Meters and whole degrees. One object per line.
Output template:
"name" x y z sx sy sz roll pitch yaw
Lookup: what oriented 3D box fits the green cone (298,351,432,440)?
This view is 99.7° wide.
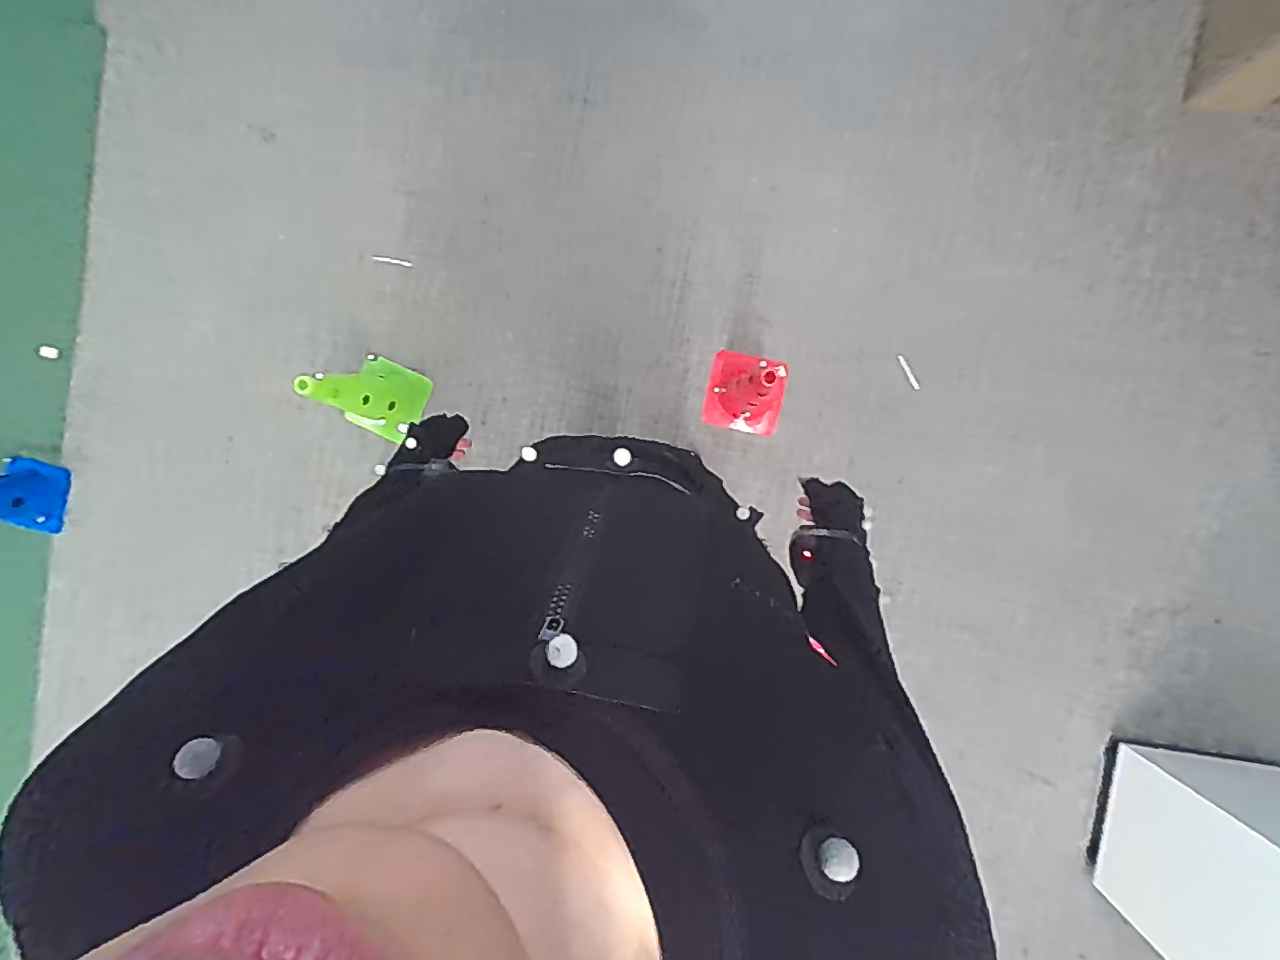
"green cone" -0.698 -0.221 1.315 0.202 0.368 0.200 23 94 1
